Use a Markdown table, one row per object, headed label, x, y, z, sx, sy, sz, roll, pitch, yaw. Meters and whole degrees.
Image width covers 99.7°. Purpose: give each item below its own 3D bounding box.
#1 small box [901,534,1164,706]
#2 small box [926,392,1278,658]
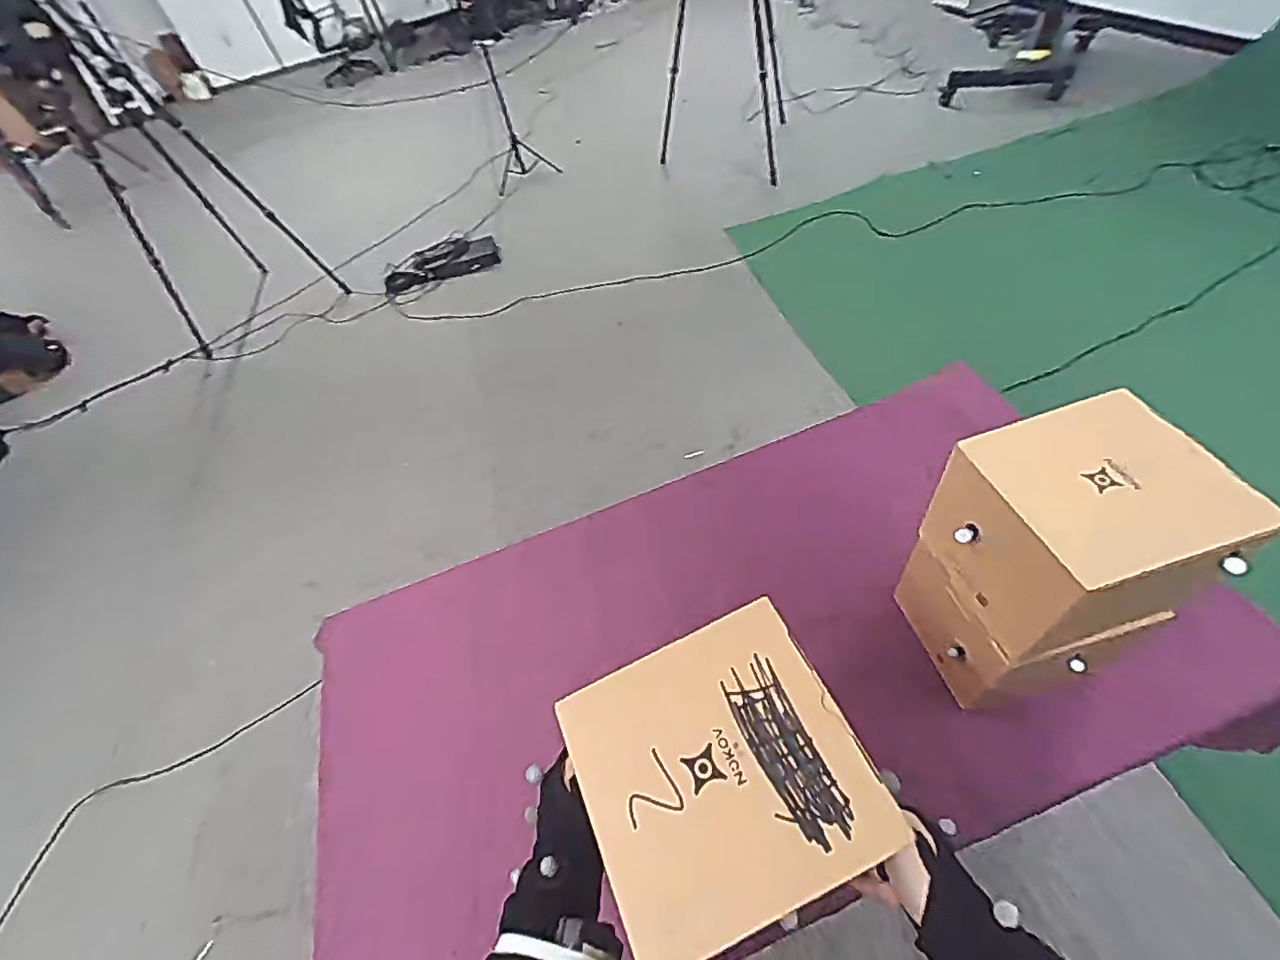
| label | x | y | z | sx | sy | sz | roll | pitch | yaw |
| --- | --- | --- | --- | --- | --- | --- | --- | --- | --- |
| small box | 0.439 | 0.152 | 0.649 | 0.179 | 0.176 | 0.168 | -16 | 52 | 0 |
| small box | 0.408 | 0.050 | 0.526 | 0.179 | 0.176 | 0.168 | -18 | 51 | -2 |
